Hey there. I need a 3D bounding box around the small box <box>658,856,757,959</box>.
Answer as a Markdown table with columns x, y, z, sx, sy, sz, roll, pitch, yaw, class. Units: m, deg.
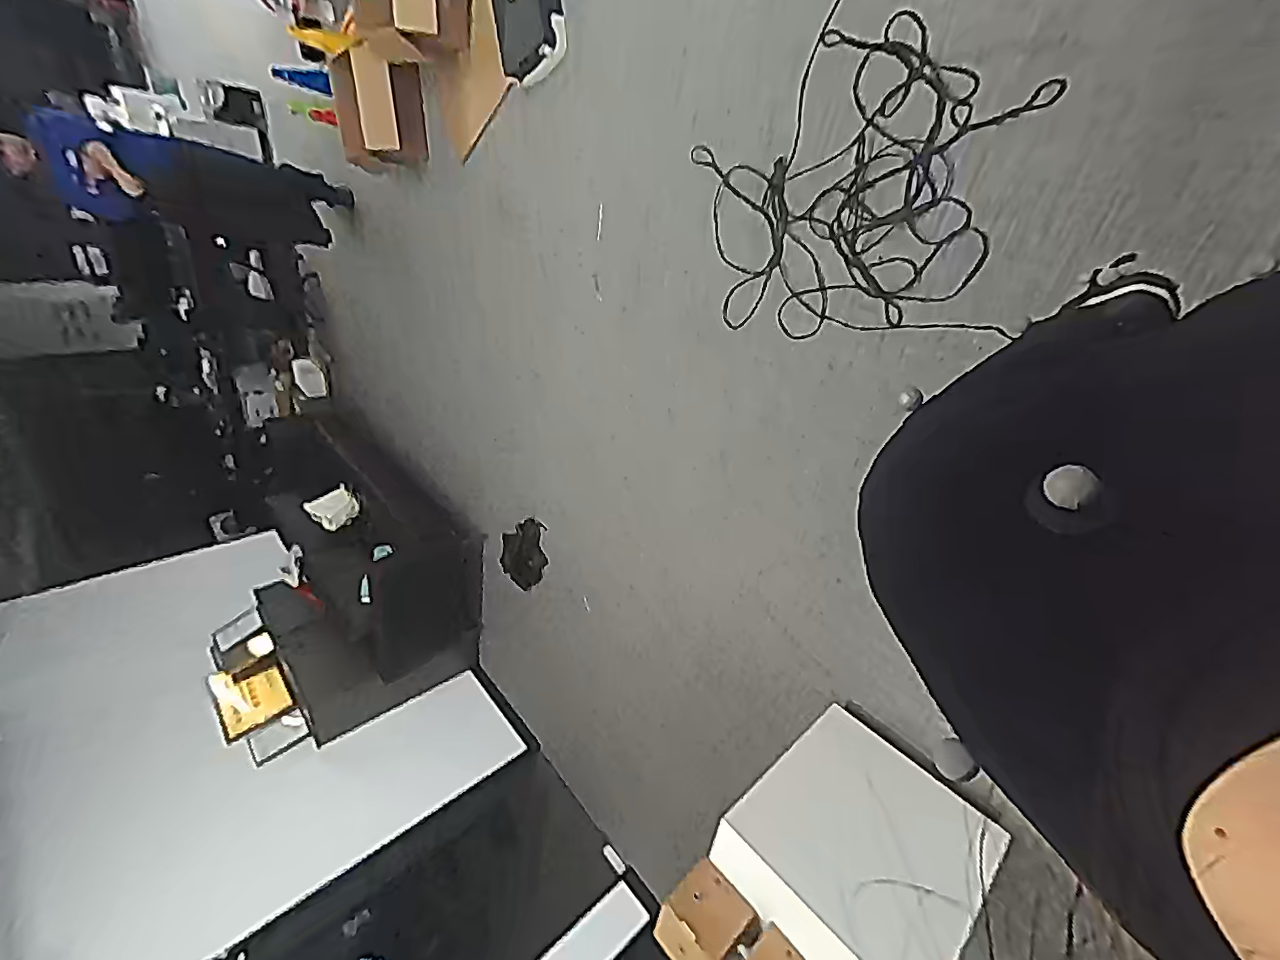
| x | y | z | sx | sy | sz | roll | pitch | yaw | class |
| --- | --- | --- | --- | --- | --- | --- | --- | --- | --- |
| 0.170 | 1.104 | 1.358 | 0.168 | 0.176 | 0.179 | 32 | 128 | 38 | small box |
